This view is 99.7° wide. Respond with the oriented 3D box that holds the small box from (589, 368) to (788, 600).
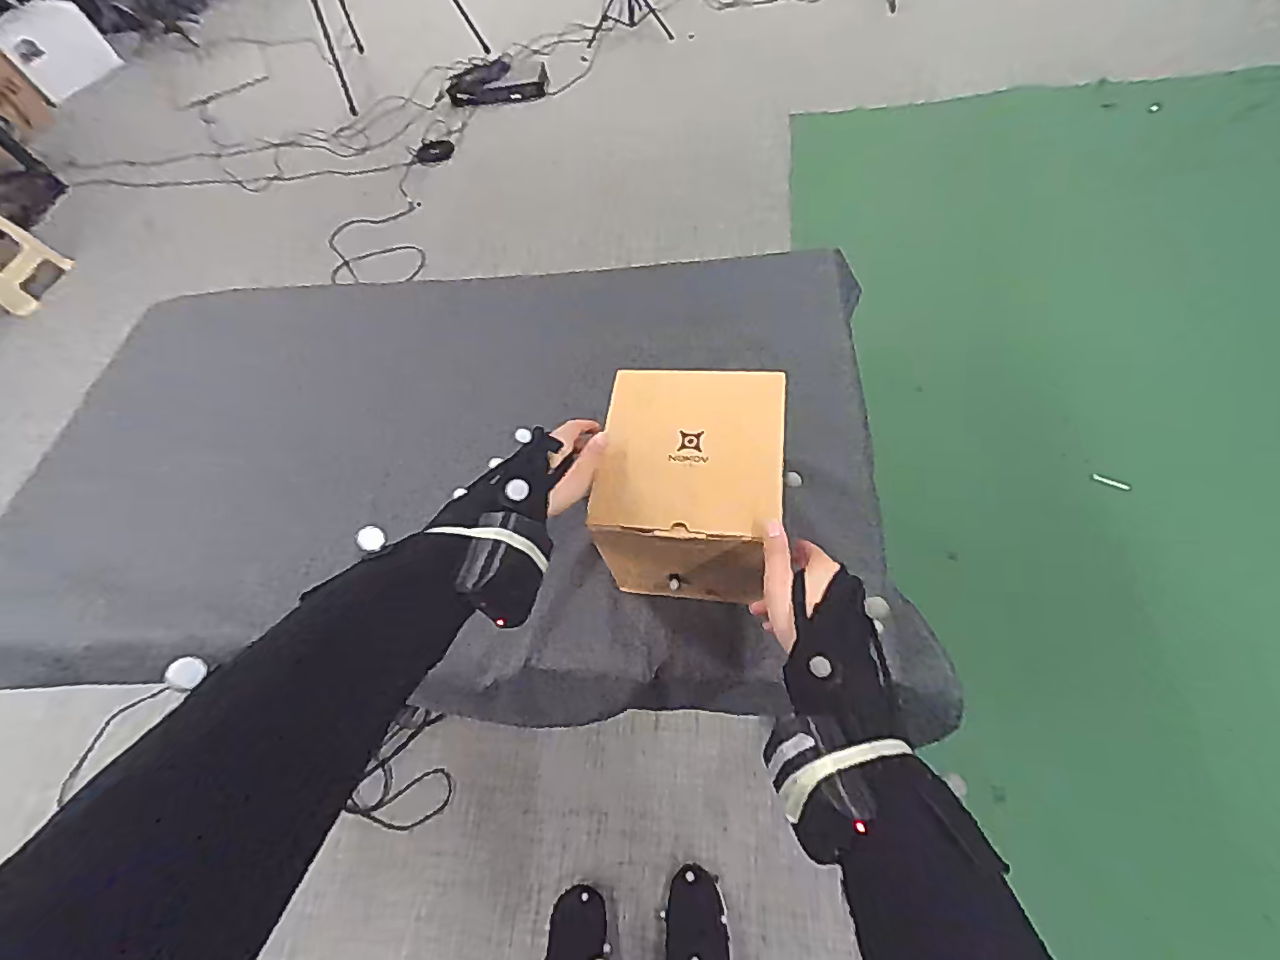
[{"bbox_3d":[0.058,0.007,0.554,0.168,0.176,0.179,3,61,12],"label":"small box"}]
